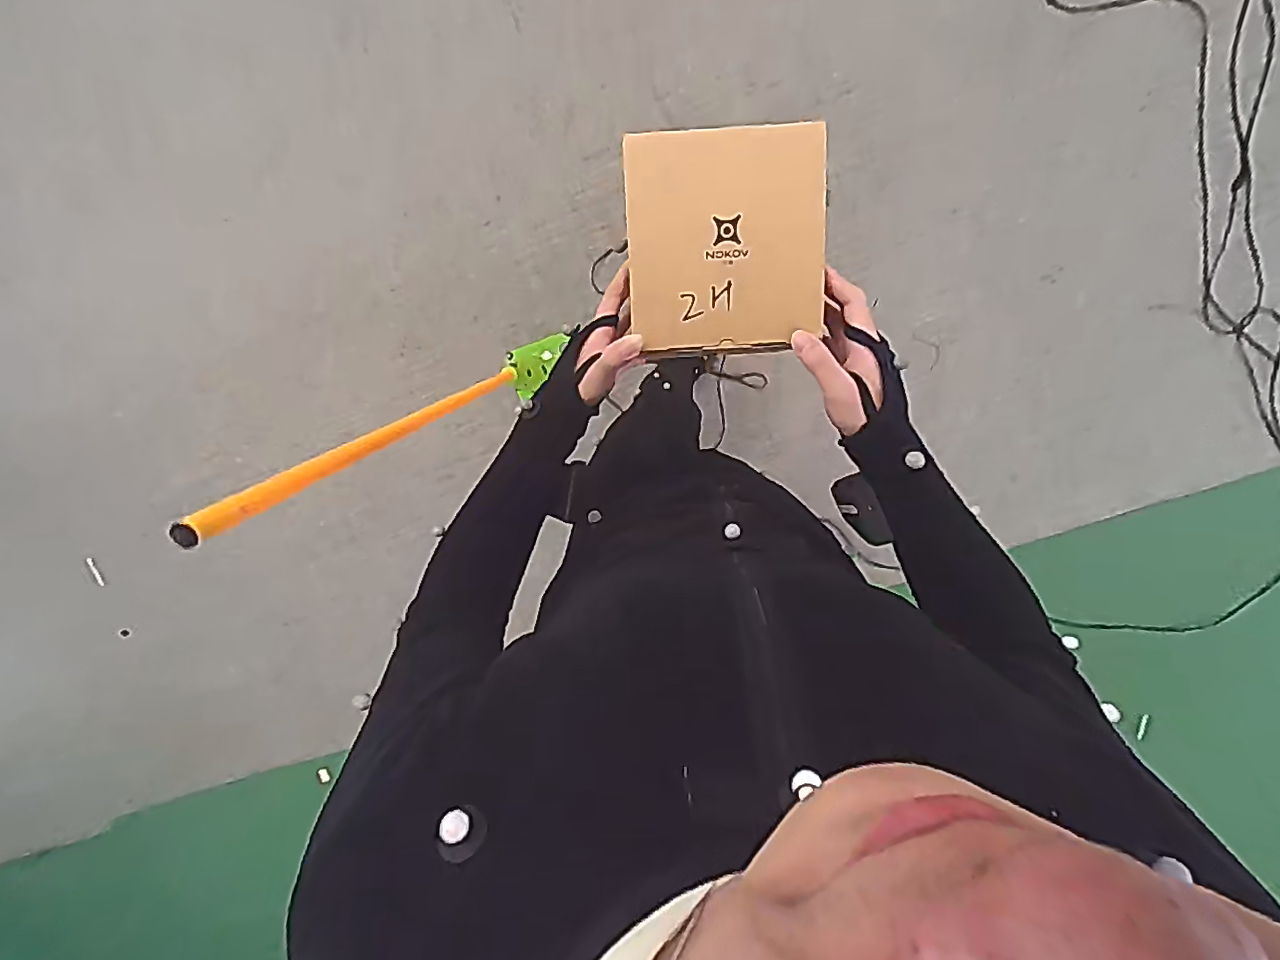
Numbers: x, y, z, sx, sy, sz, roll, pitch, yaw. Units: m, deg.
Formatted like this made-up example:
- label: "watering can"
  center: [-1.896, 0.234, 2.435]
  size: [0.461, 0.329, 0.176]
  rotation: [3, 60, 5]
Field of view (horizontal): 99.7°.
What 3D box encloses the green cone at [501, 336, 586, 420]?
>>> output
- label: "green cone"
  center: [-0.284, -0.256, 1.377]
  size: [0.202, 0.368, 0.200]
  rotation: [-18, 99, 6]
